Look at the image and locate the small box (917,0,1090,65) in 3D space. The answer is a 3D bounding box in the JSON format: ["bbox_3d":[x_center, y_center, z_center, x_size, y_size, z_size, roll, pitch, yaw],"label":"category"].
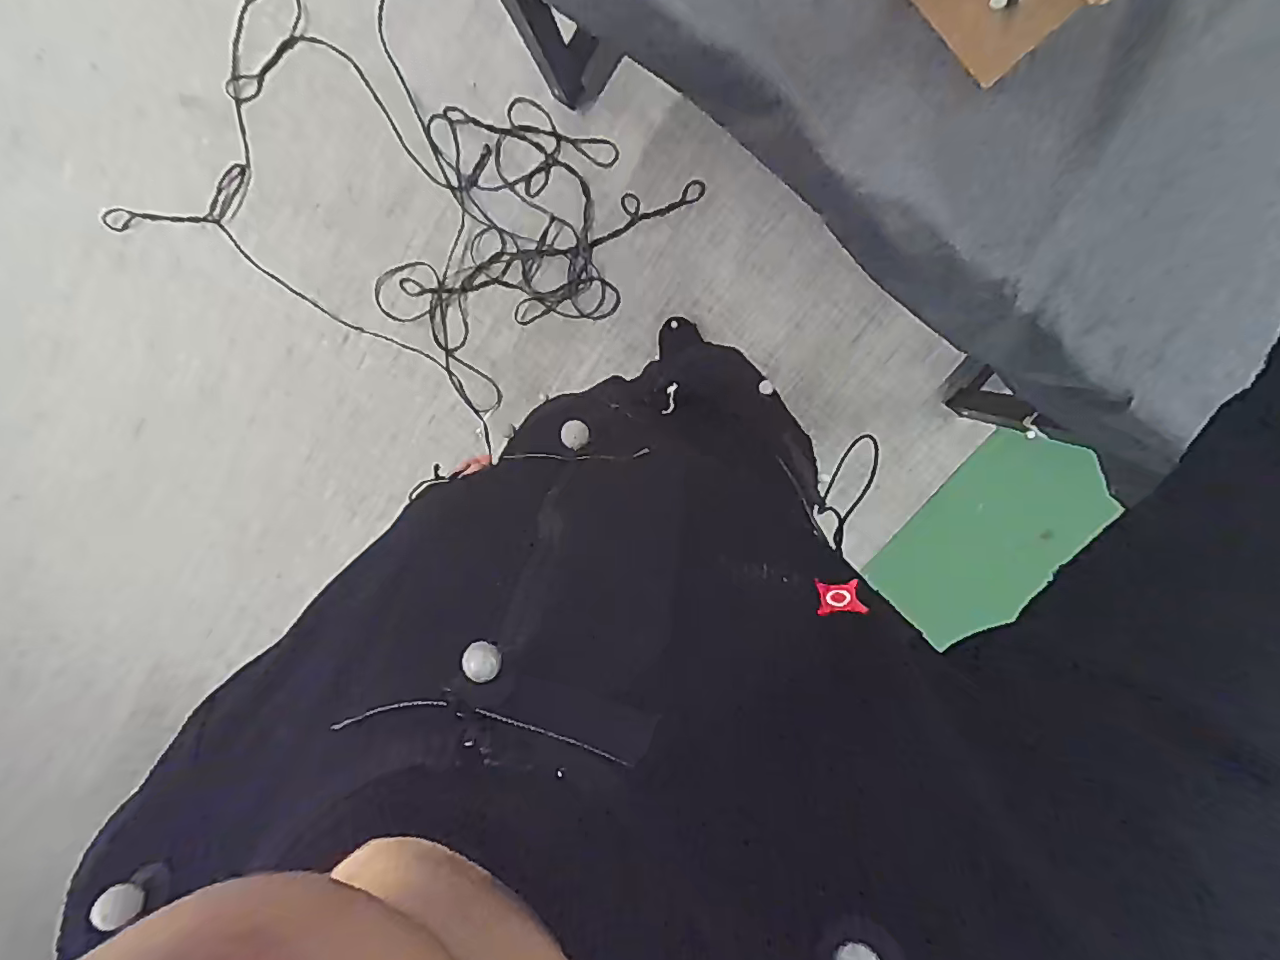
[{"bbox_3d":[0.309,-0.455,0.392,0.179,0.176,0.168,44,102,-6],"label":"small box"}]
